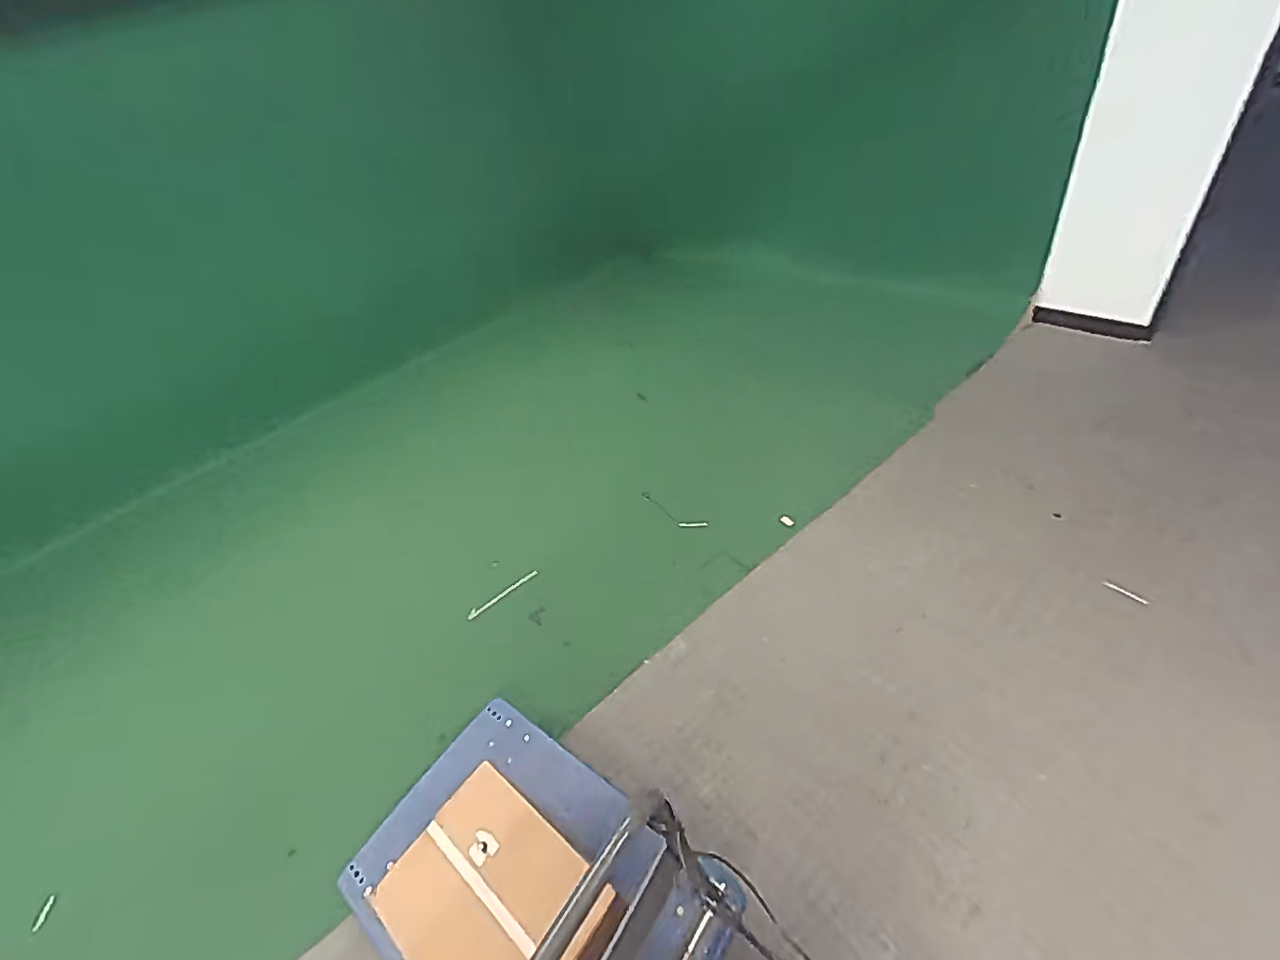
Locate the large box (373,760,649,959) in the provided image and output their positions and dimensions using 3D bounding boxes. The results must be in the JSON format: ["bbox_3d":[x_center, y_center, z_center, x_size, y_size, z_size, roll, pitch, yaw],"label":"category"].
[{"bbox_3d":[-0.251,0.882,1.121,0.408,0.320,0.320,22,54,36],"label":"large box"}]
